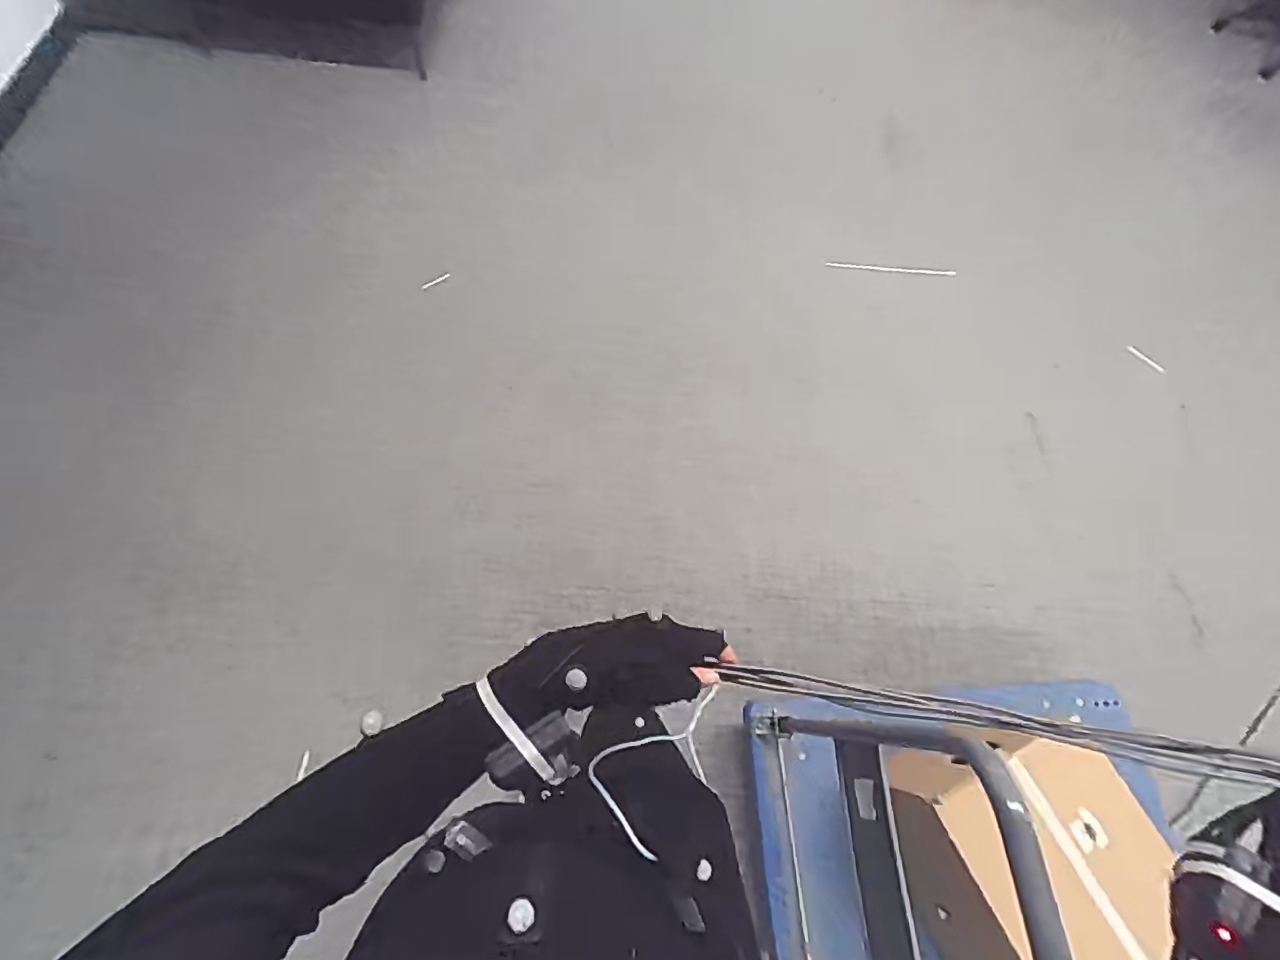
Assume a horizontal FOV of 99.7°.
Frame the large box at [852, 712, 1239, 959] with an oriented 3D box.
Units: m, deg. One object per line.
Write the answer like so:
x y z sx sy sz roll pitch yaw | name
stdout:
0.666 0.677 0.964 0.320 0.320 0.408 -22 70 -13 | large box
